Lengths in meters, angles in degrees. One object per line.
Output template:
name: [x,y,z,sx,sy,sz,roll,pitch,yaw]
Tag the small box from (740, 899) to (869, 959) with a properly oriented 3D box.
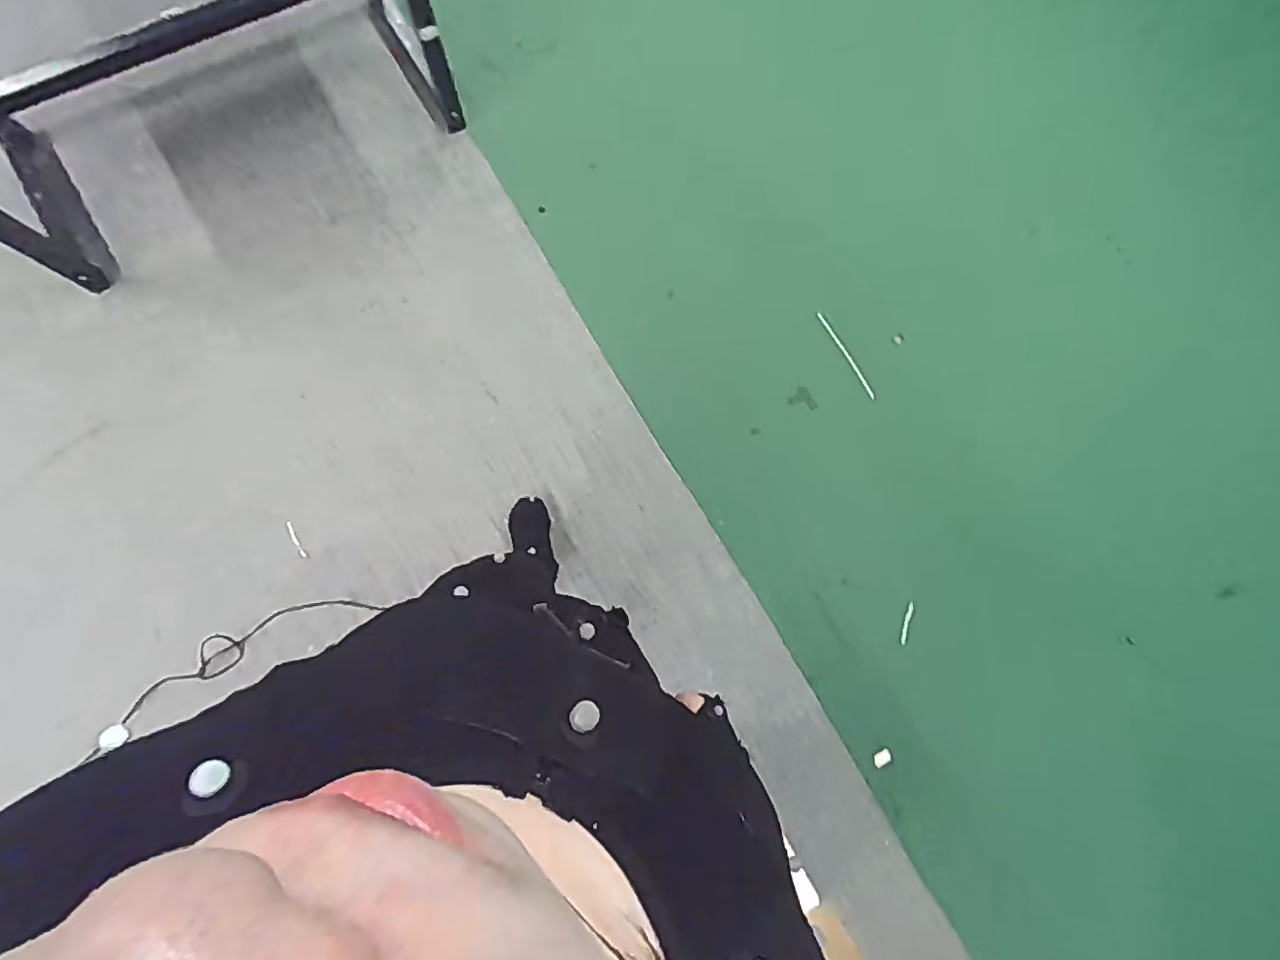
small box: [0.266,0.761,0.772,0.179,0.176,0.168,-28,84,-8]
